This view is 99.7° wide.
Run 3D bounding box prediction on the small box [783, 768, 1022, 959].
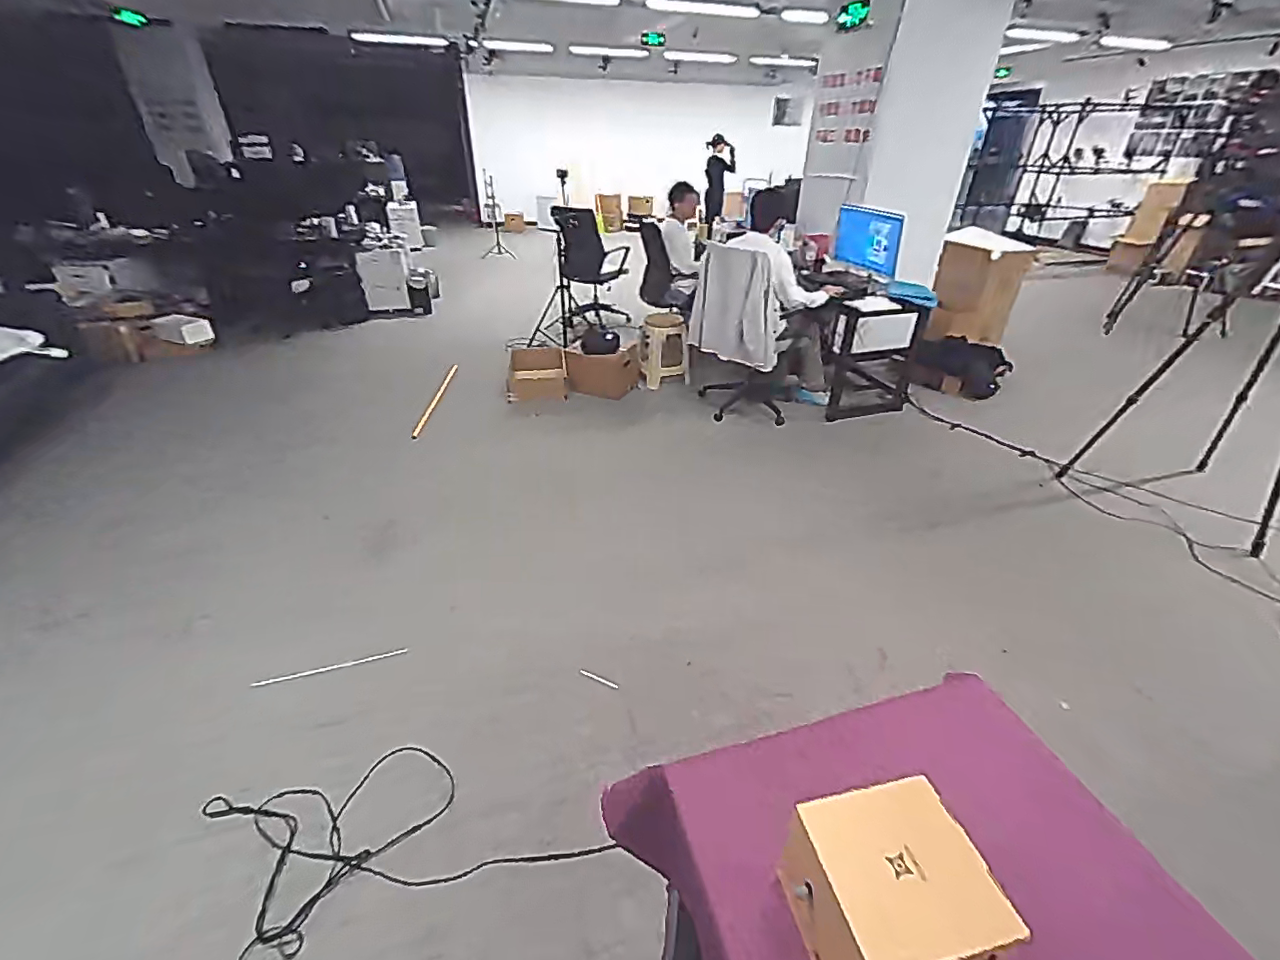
[{"bbox_3d":[0.279,0.474,0.625,0.179,0.176,0.168,-6,33,-12],"label":"small box"}]
